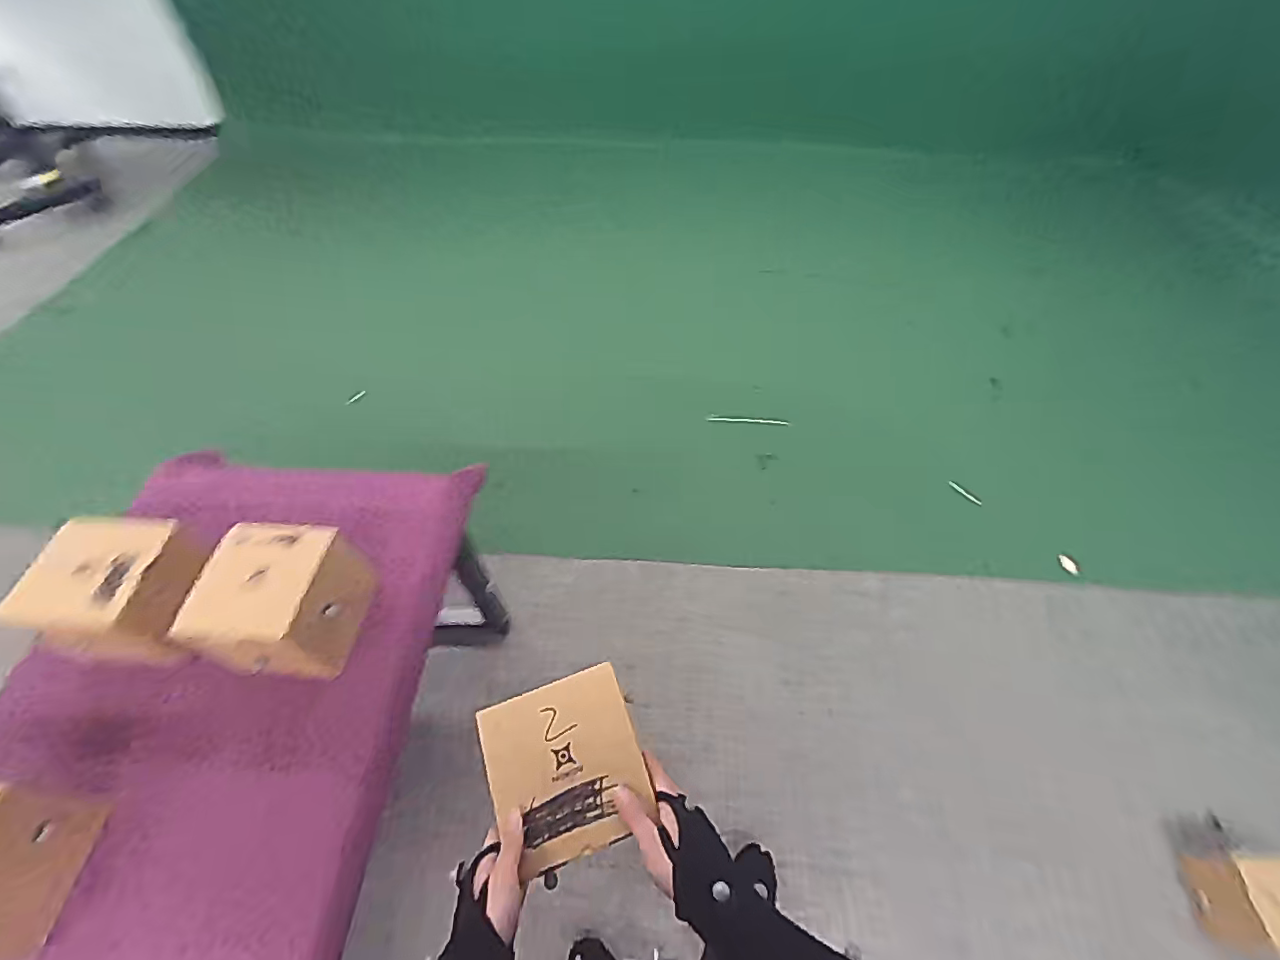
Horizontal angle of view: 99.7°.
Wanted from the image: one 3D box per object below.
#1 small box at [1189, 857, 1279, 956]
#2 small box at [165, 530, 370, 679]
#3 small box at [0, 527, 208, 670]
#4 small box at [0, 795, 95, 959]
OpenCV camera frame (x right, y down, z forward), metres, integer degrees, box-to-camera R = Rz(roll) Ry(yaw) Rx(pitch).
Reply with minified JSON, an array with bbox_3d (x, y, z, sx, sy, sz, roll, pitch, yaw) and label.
[{"bbox_3d":[1.373,0.924,1.167,0.179,0.176,0.168,4,53,3],"label":"small box"},{"bbox_3d":[-0.551,0.196,0.833,0.168,0.176,0.179,2,54,4],"label":"small box"},{"bbox_3d":[-0.801,0.188,0.844,0.179,0.176,0.168,1,53,3],"label":"small box"},{"bbox_3d":[-0.813,0.477,0.630,0.168,0.176,0.179,0,54,1],"label":"small box"}]
